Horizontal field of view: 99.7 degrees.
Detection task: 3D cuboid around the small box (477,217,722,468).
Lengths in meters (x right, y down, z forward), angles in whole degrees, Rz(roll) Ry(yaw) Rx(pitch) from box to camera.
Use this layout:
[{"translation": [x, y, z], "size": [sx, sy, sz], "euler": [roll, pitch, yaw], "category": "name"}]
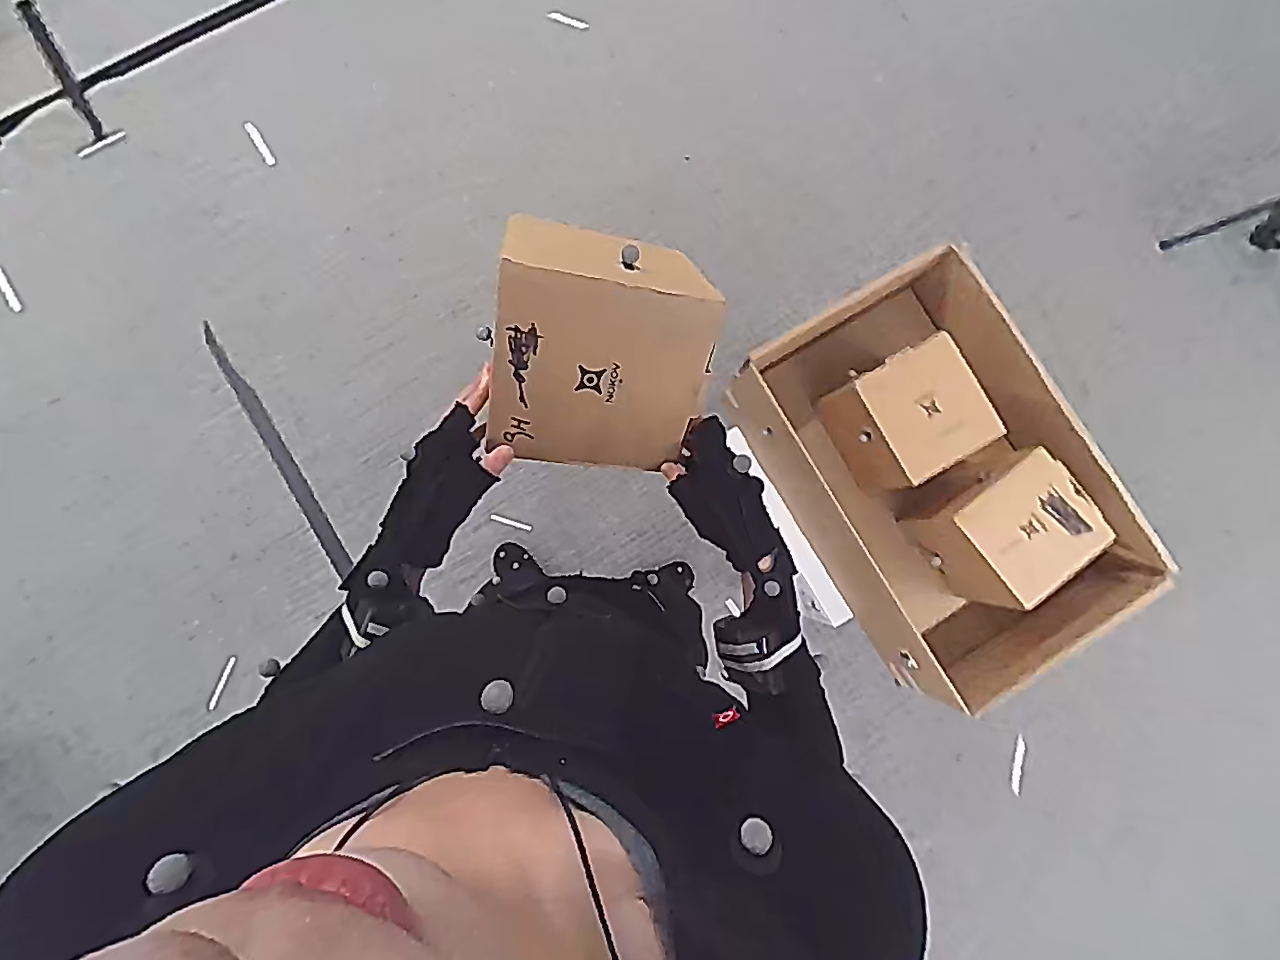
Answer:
[{"translation": [-0.051, -0.130, 0.502], "size": [0.179, 0.176, 0.168], "euler": [6, 122, -17], "category": "small box"}]
